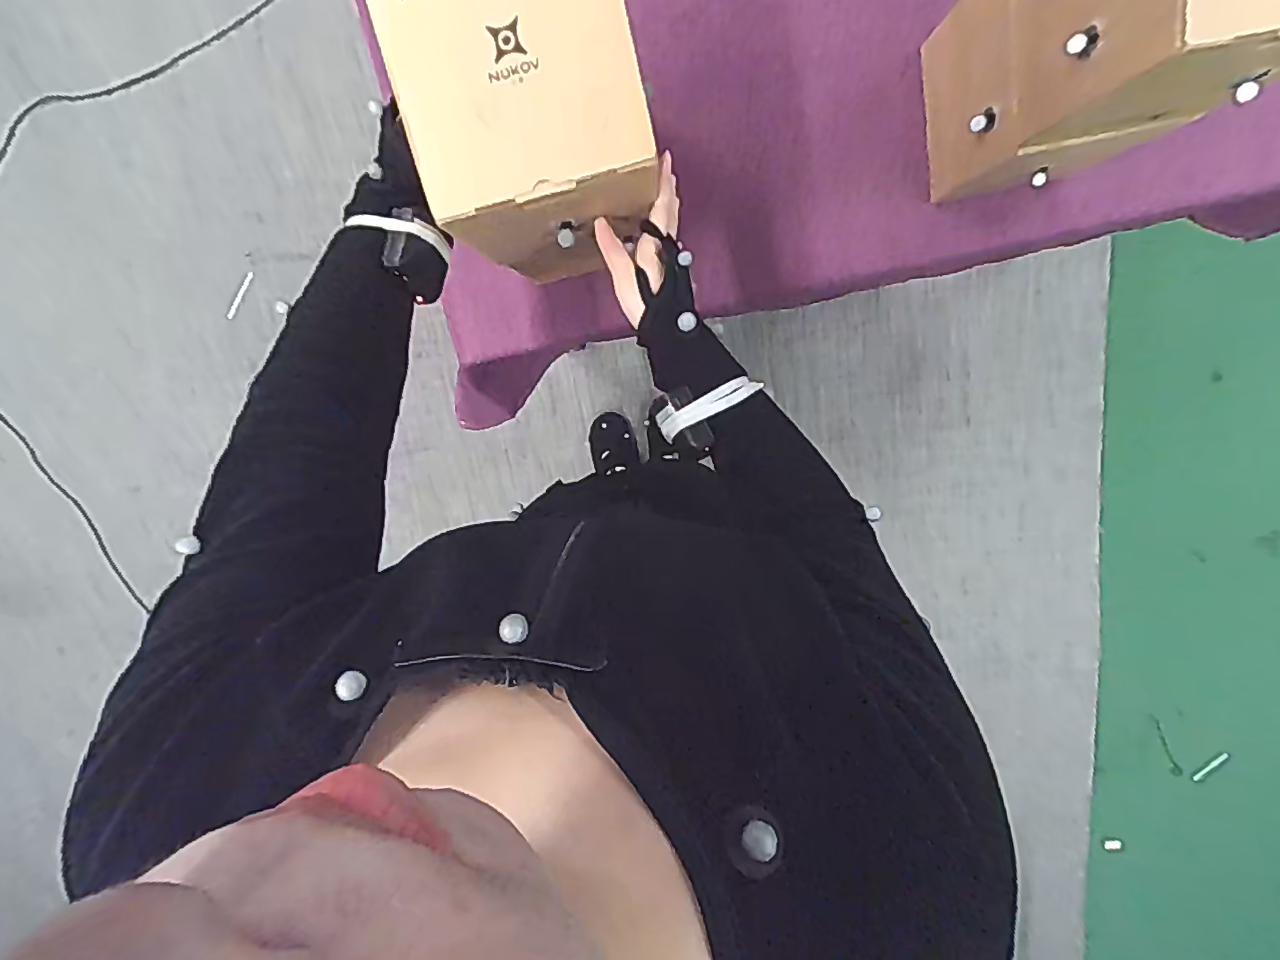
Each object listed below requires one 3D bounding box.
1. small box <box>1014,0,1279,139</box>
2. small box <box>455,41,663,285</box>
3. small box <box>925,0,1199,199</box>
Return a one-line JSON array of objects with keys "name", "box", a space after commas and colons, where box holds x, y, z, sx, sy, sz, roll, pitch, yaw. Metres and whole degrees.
[{"name": "small box", "box": [0.413, -0.382, 0.402, 0.168, 0.176, 0.179, -7, 101, 4]}, {"name": "small box", "box": [-0.074, -0.329, 0.603, 0.179, 0.176, 0.168, -13, 100, 4]}, {"name": "small box", "box": [0.420, -0.412, 0.562, 0.168, 0.176, 0.179, -9, 101, 4]}]
